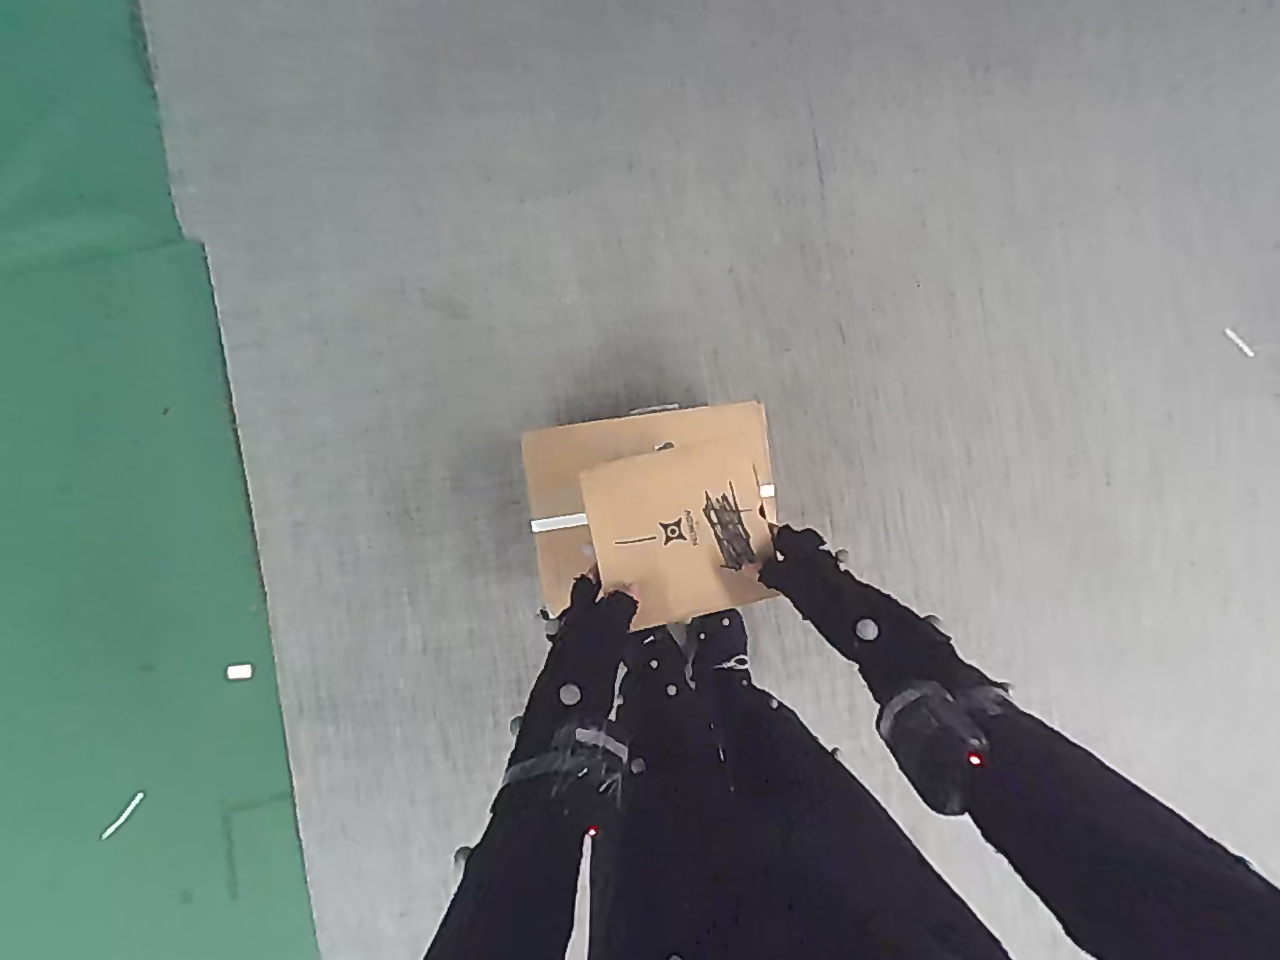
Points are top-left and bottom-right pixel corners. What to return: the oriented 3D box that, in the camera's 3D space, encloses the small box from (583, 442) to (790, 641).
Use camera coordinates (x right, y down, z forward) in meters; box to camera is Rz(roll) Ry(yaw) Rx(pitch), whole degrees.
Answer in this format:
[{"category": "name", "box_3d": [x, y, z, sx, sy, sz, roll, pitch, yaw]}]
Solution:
[{"category": "small box", "box_3d": [0.041, 0.065, 0.600, 0.179, 0.176, 0.168, -12, 83, -3]}]
